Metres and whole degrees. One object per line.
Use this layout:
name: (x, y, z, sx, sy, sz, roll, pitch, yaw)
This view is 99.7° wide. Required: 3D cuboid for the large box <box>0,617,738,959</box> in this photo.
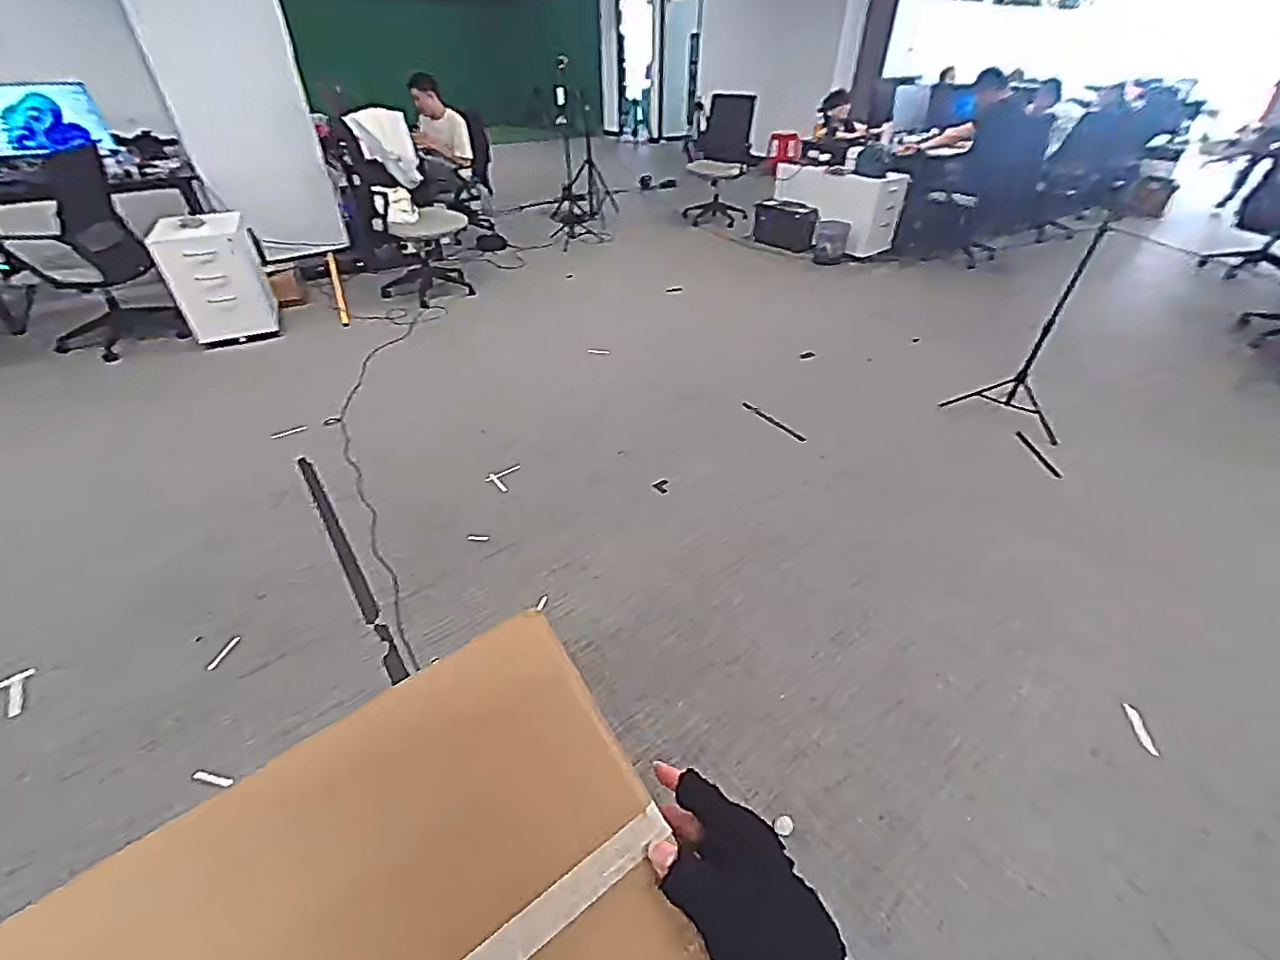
large box: (-0.184, 0.364, 0.406, 0.408, 0.320, 0.320, -29, 78, -22)
